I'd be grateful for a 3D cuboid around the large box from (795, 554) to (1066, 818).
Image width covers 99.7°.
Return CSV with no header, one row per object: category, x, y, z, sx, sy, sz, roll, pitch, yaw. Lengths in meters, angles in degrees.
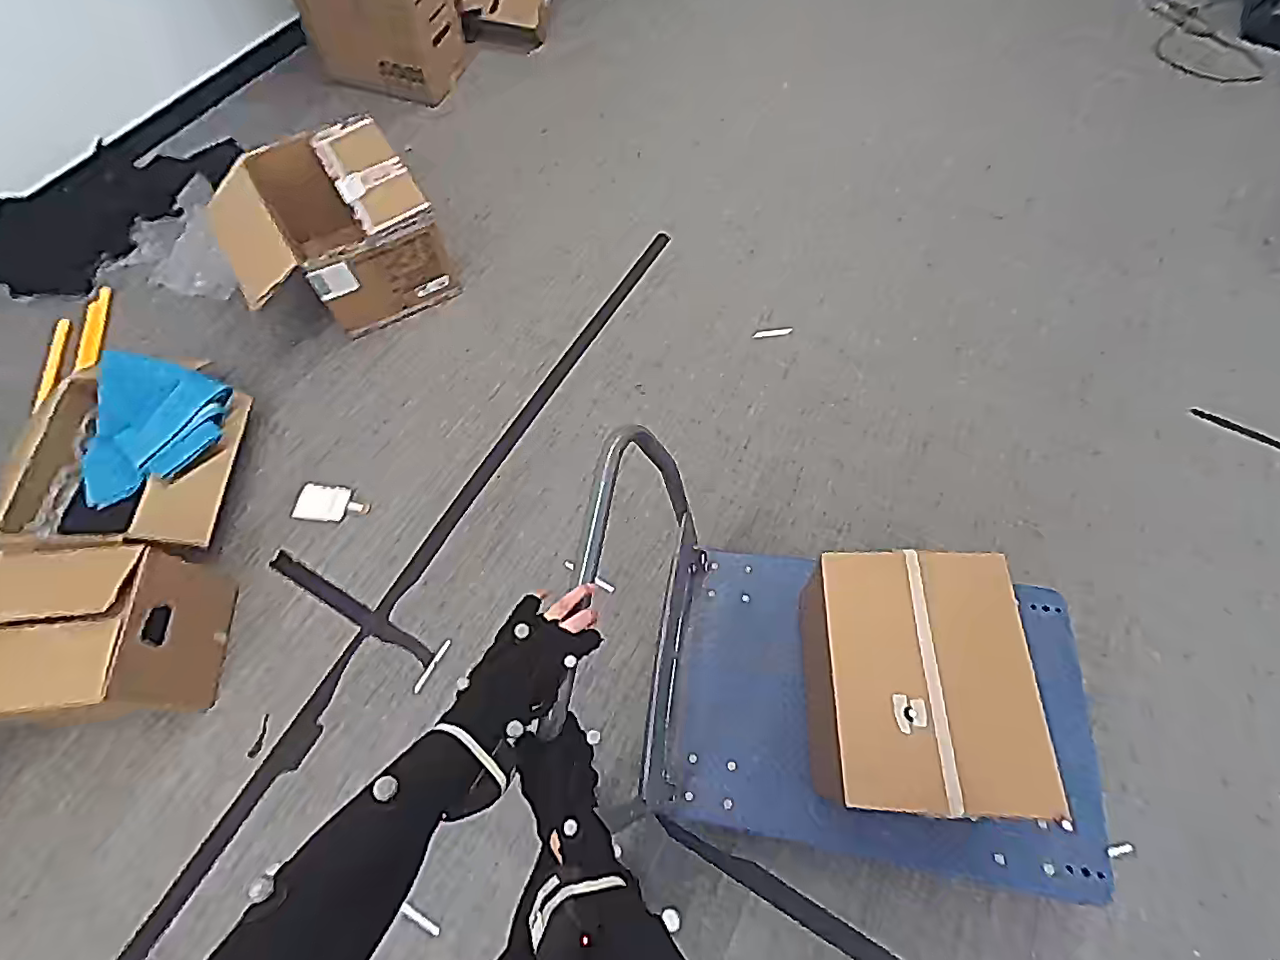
large box,0.488,0.378,1.018,0.320,0.320,0.408,-2,64,8
